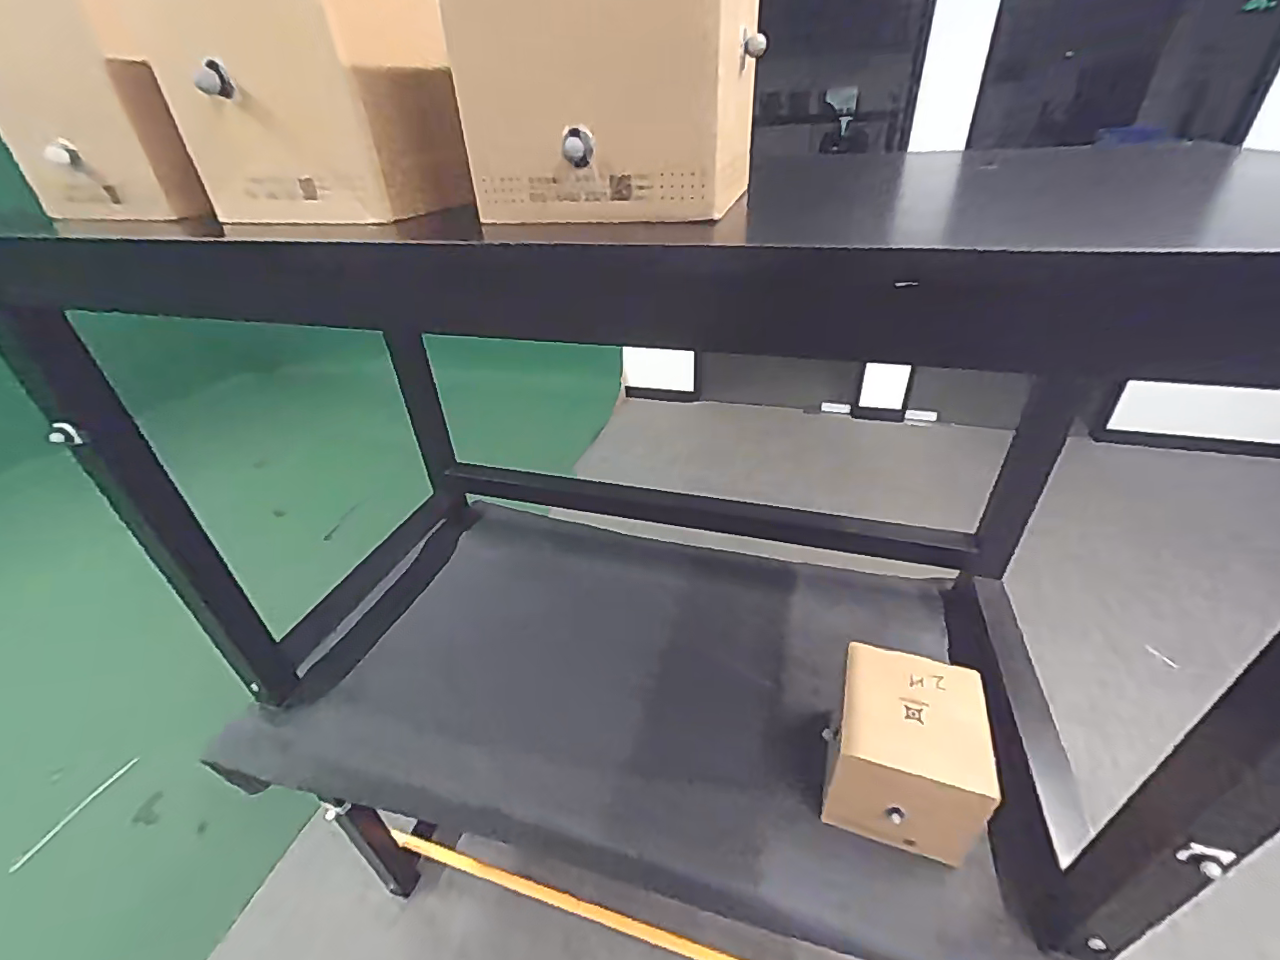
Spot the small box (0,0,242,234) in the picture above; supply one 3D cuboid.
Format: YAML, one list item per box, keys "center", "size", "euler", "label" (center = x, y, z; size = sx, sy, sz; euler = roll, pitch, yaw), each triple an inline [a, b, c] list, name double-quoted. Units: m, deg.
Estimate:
- center: [-0.451, -0.343, 0.514]
  size: [0.168, 0.176, 0.179]
  euler: [8, 36, 16]
  label: "small box"

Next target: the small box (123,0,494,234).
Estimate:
- center: [-0.240, -0.304, 0.442]
  size: [0.168, 0.176, 0.179]
  euler: [8, 35, 17]
  label: "small box"

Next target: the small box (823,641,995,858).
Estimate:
- center: [0.342, 0.352, 0.715]
  size: [0.168, 0.176, 0.179]
  euler: [10, 35, 19]
  label: "small box"
